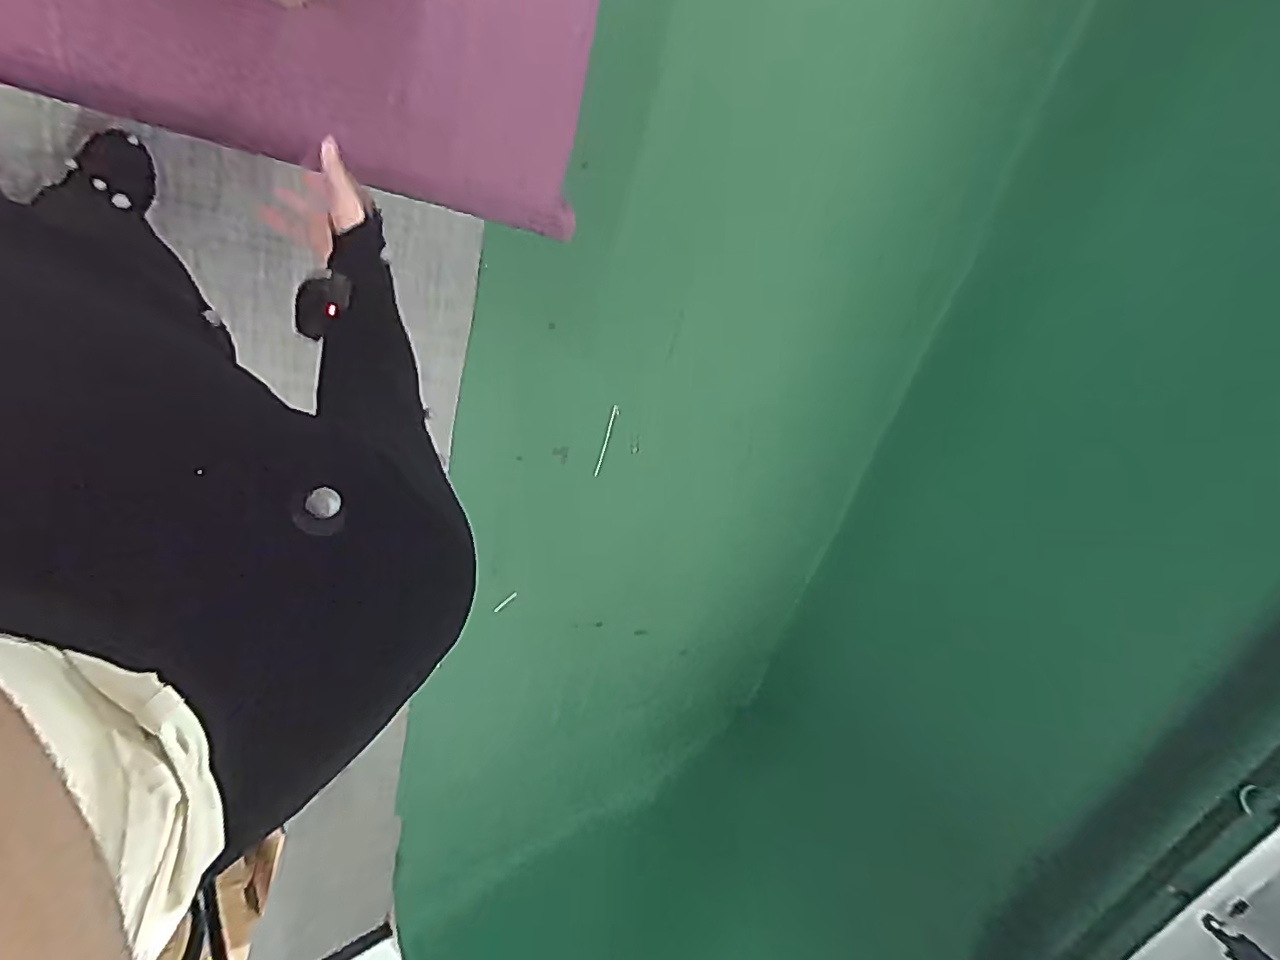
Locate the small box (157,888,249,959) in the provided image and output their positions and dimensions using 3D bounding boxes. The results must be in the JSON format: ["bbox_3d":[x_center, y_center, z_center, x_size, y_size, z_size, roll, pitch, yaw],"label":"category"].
[{"bbox_3d":[-1.139,1.223,1.406,0.168,0.176,0.179,7,113,-44],"label":"small box"}]

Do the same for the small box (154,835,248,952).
[{"bbox_3d":[-1.231,1.145,1.514,0.179,0.176,0.168,8,112,-46],"label":"small box"}]
